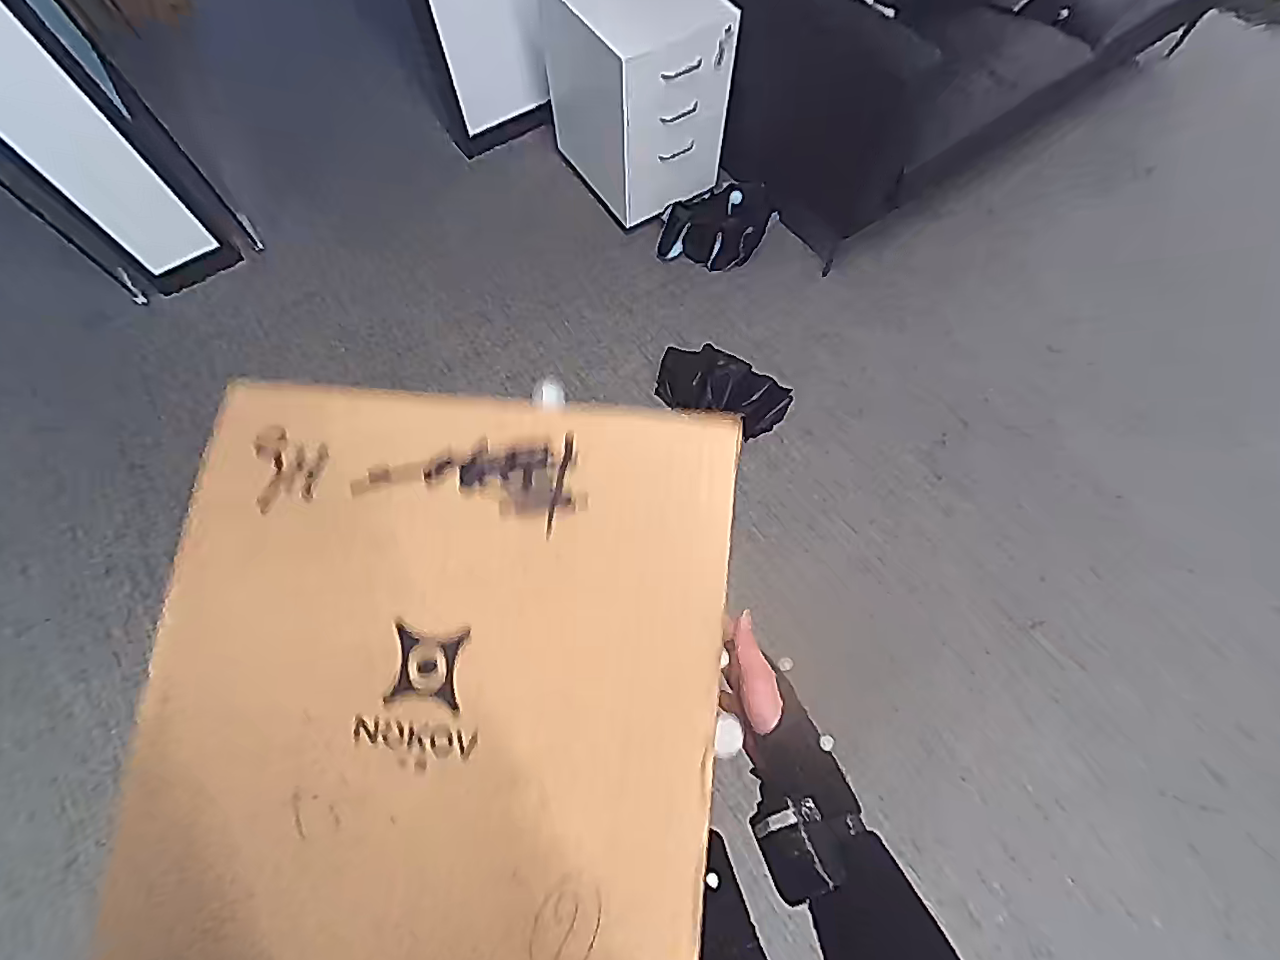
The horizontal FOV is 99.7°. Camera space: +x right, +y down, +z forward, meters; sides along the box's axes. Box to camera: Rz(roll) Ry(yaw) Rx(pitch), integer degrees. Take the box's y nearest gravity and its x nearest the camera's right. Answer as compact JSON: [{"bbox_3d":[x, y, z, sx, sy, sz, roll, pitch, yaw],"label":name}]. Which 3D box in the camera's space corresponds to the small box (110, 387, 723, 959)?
[{"bbox_3d":[-0.056,0.073,0.236,0.168,0.176,0.179,6,82,7],"label":"small box"}]
